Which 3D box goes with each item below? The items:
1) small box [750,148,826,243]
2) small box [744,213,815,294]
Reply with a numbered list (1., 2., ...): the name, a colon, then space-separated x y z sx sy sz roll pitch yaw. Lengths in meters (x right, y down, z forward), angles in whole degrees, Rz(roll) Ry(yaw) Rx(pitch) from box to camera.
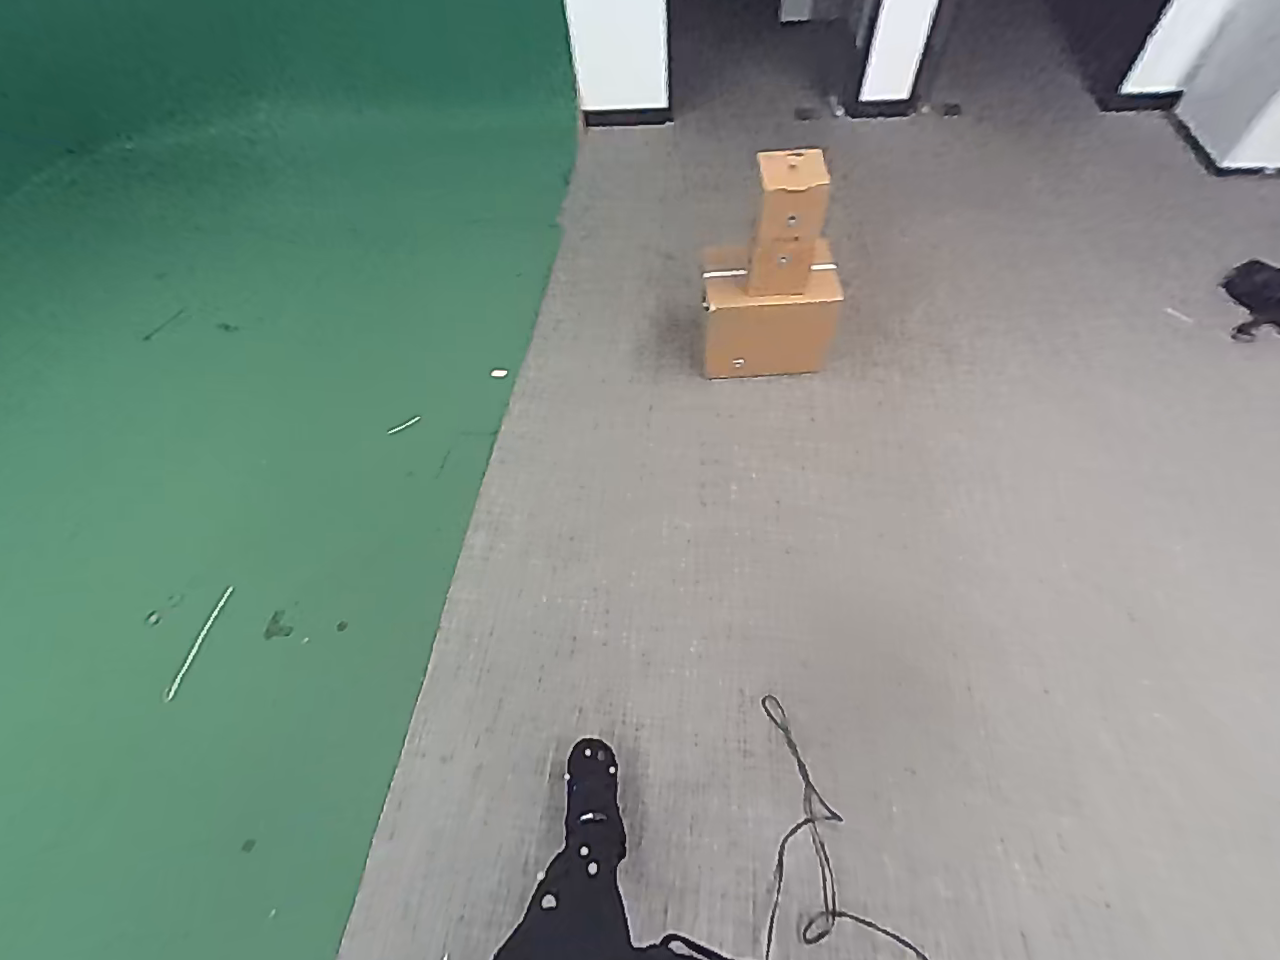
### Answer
1. small box: 0.394 -0.762 1.464 0.168 0.176 0.179 -1 59 4
2. small box: 0.403 -0.669 1.599 0.179 0.176 0.168 -1 59 3
